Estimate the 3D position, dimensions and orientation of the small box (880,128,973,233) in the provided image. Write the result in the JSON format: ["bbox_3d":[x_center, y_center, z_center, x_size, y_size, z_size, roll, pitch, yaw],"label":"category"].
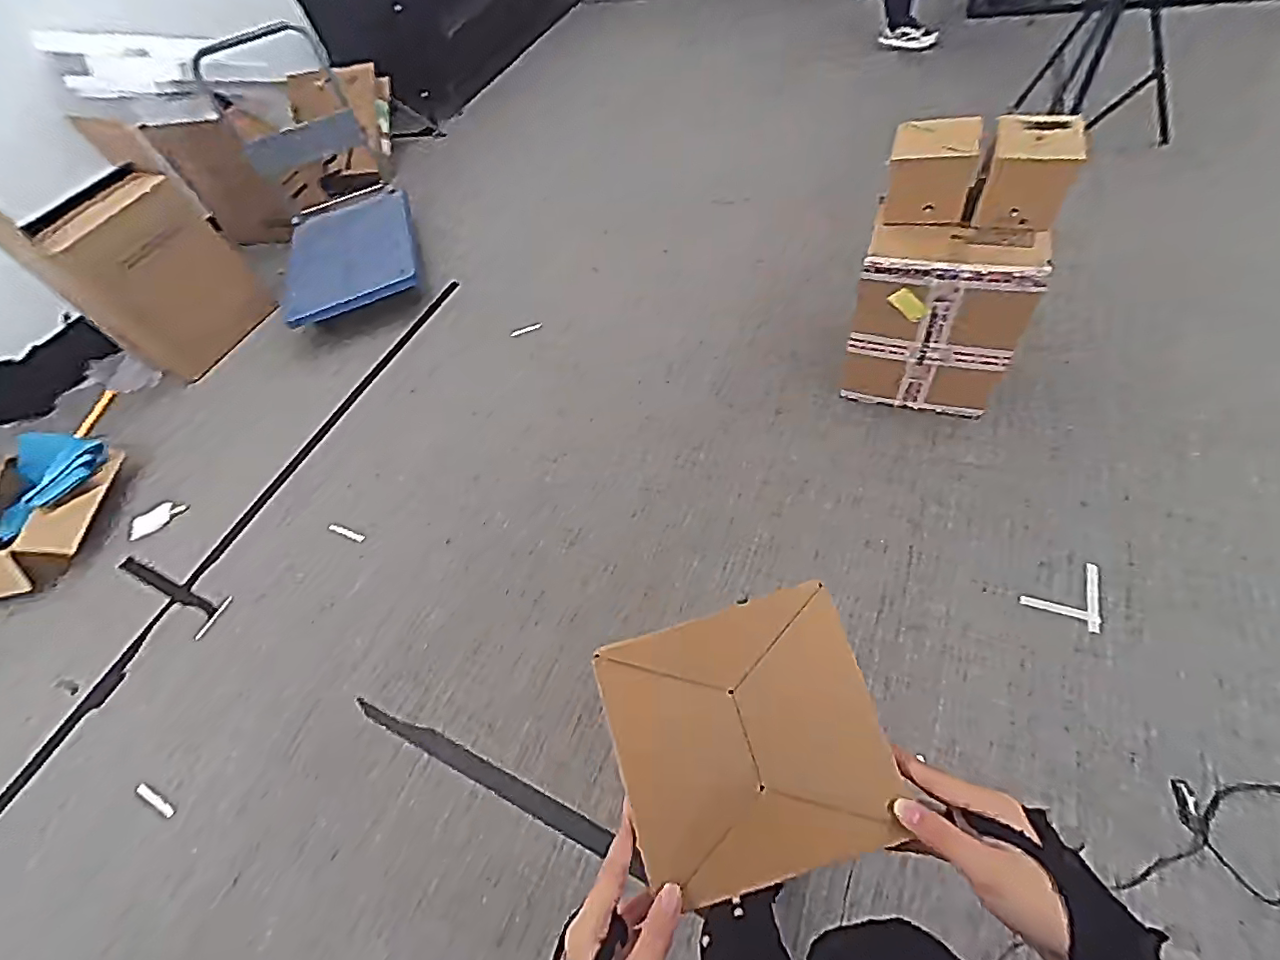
[{"bbox_3d":[0.699,-0.732,1.323,0.179,0.176,0.168,11,60,22],"label":"small box"}]

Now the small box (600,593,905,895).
[{"bbox_3d":[0.075,0.196,0.441,0.179,0.176,0.168,-17,74,0],"label":"small box"}]
